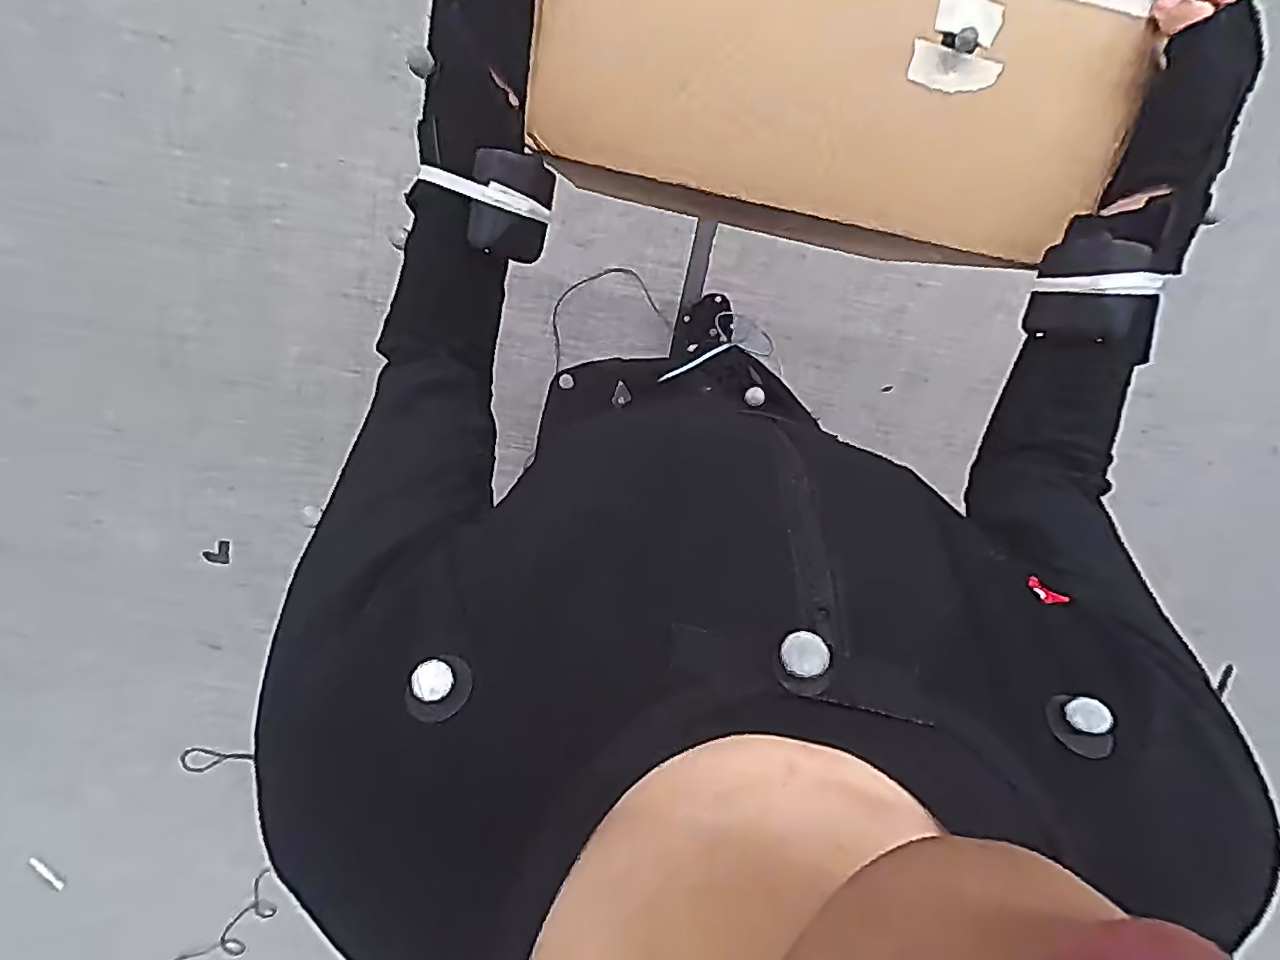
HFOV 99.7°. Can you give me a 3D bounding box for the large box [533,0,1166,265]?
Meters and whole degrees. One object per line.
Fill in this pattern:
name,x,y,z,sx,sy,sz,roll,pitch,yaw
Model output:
large box,0.141,-0.393,0.476,0.408,0.320,0.320,10,114,-5
